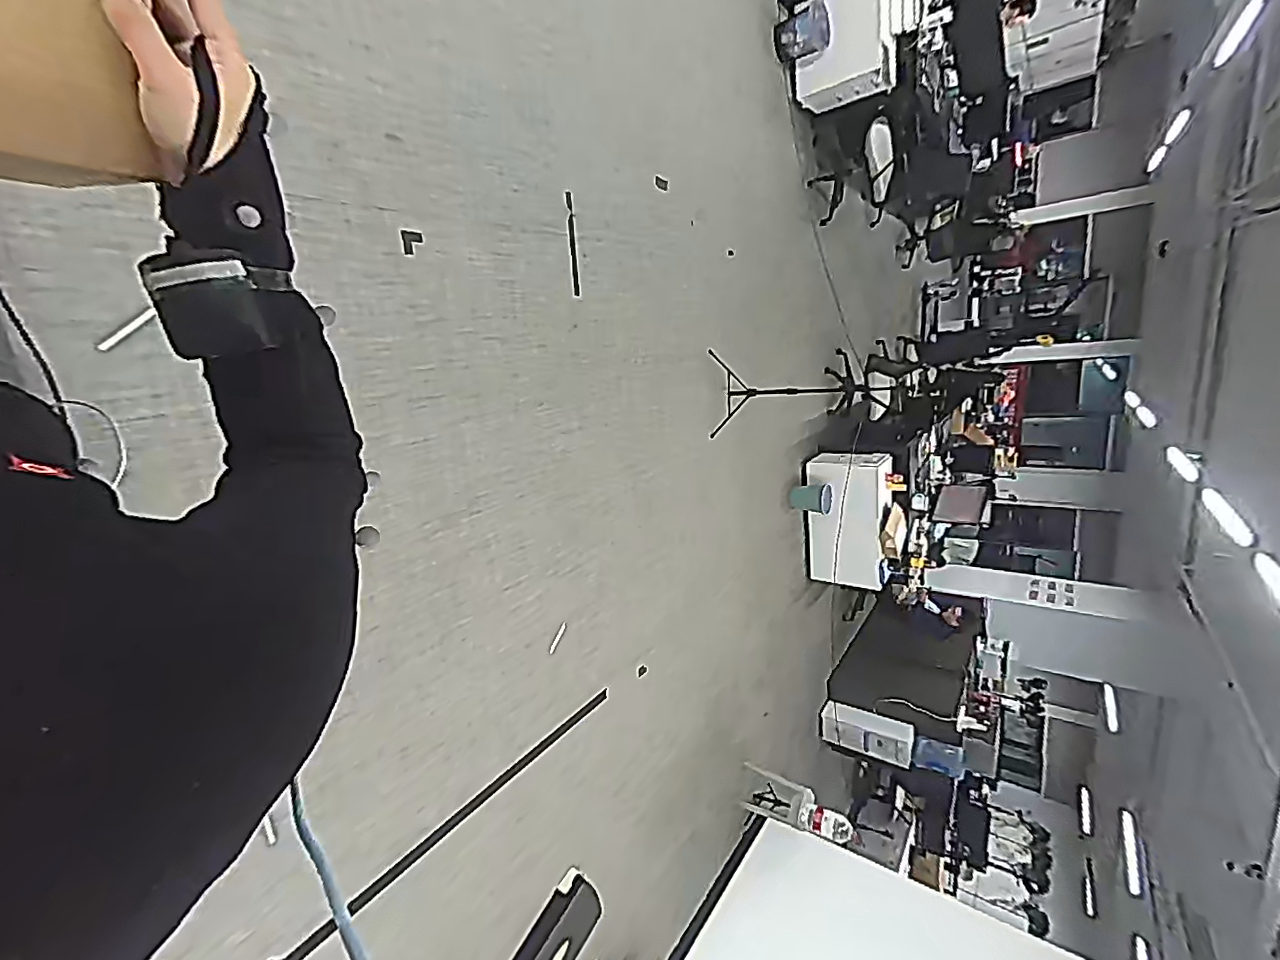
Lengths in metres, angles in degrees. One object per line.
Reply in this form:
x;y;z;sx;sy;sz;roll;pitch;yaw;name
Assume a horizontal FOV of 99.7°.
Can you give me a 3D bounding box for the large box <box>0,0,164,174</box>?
-0.514;-0.344;0.215;0.408;0.320;0.320;-16;121;-52;large box
